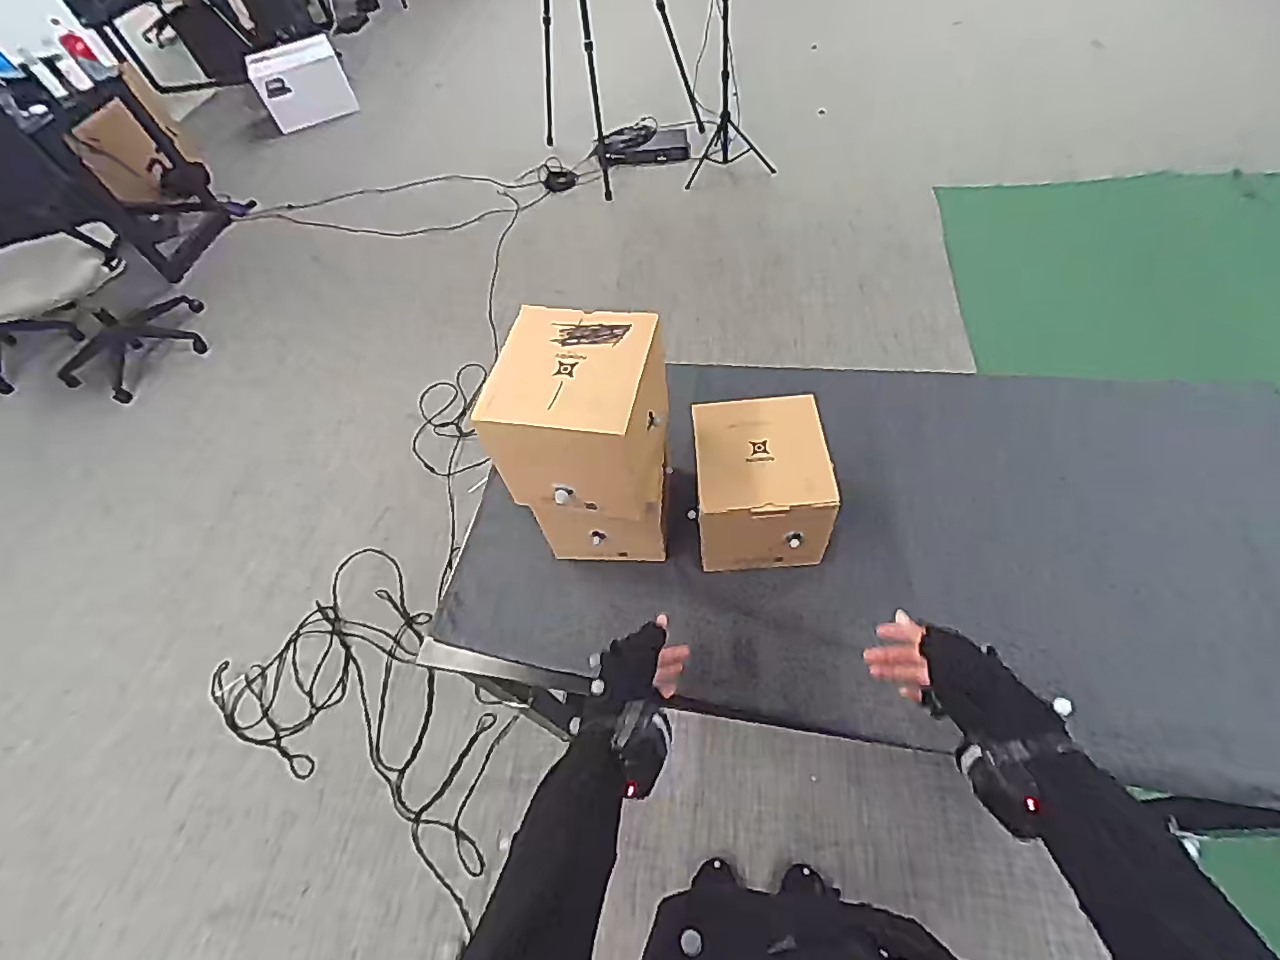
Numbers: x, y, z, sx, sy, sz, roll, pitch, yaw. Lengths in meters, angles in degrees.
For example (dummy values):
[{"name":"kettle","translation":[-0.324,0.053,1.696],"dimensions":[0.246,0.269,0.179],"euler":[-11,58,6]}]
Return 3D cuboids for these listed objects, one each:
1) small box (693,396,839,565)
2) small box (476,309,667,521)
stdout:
[{"name":"small box","translation":[0.163,0.010,0.749],"dimensions":[0.168,0.176,0.179],"euler":[-4,55,5]},{"name":"small box","translation":[-0.063,-0.075,0.639],"dimensions":[0.168,0.176,0.179],"euler":[7,58,12]}]
